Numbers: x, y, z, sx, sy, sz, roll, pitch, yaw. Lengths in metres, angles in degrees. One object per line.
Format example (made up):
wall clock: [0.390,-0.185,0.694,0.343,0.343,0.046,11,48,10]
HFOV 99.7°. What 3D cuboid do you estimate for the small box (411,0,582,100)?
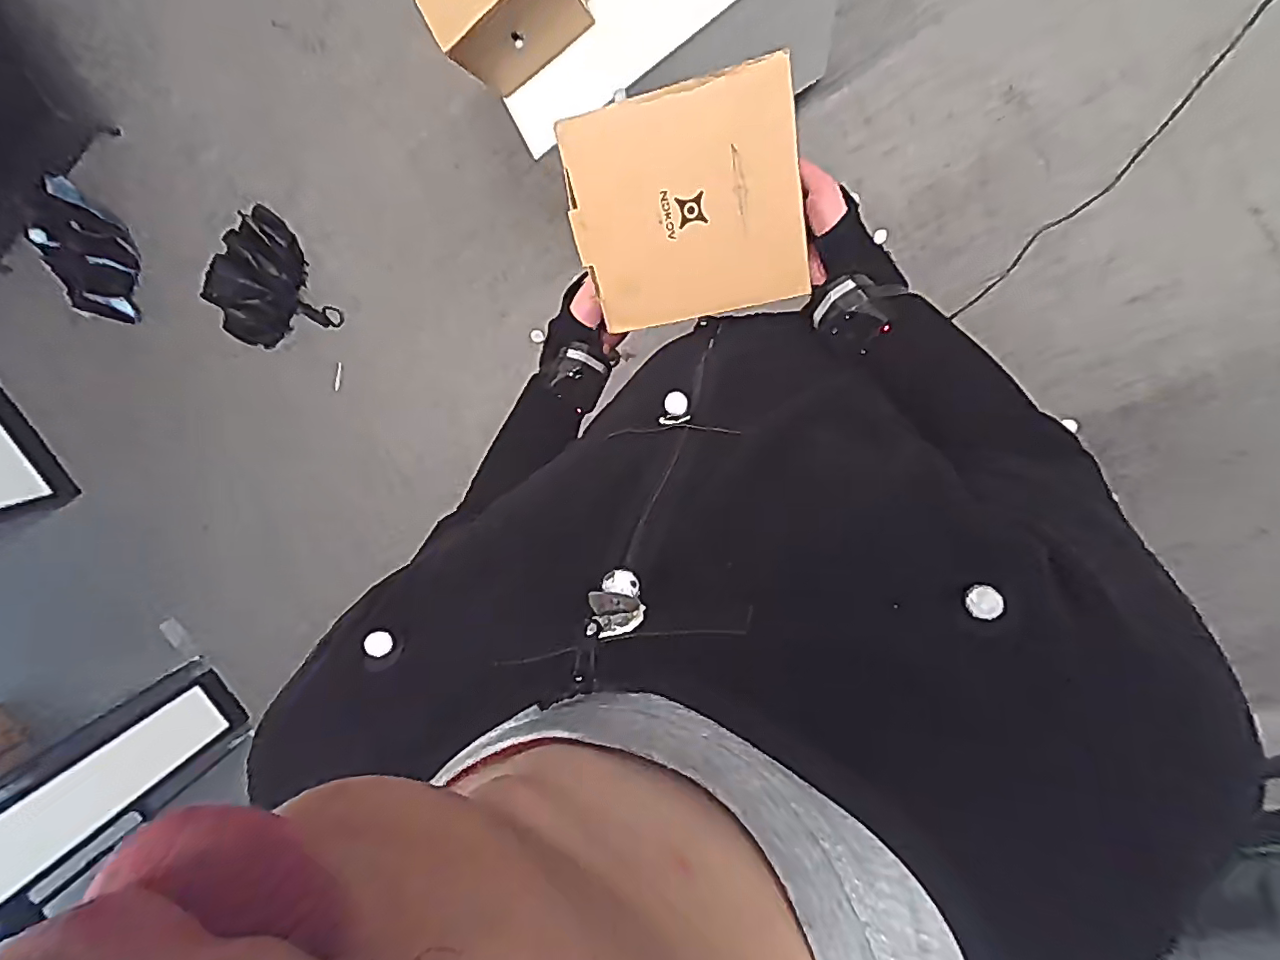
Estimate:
small box: [-0.196,-0.663,0.723,0.179,0.176,0.168,-25,99,21]
